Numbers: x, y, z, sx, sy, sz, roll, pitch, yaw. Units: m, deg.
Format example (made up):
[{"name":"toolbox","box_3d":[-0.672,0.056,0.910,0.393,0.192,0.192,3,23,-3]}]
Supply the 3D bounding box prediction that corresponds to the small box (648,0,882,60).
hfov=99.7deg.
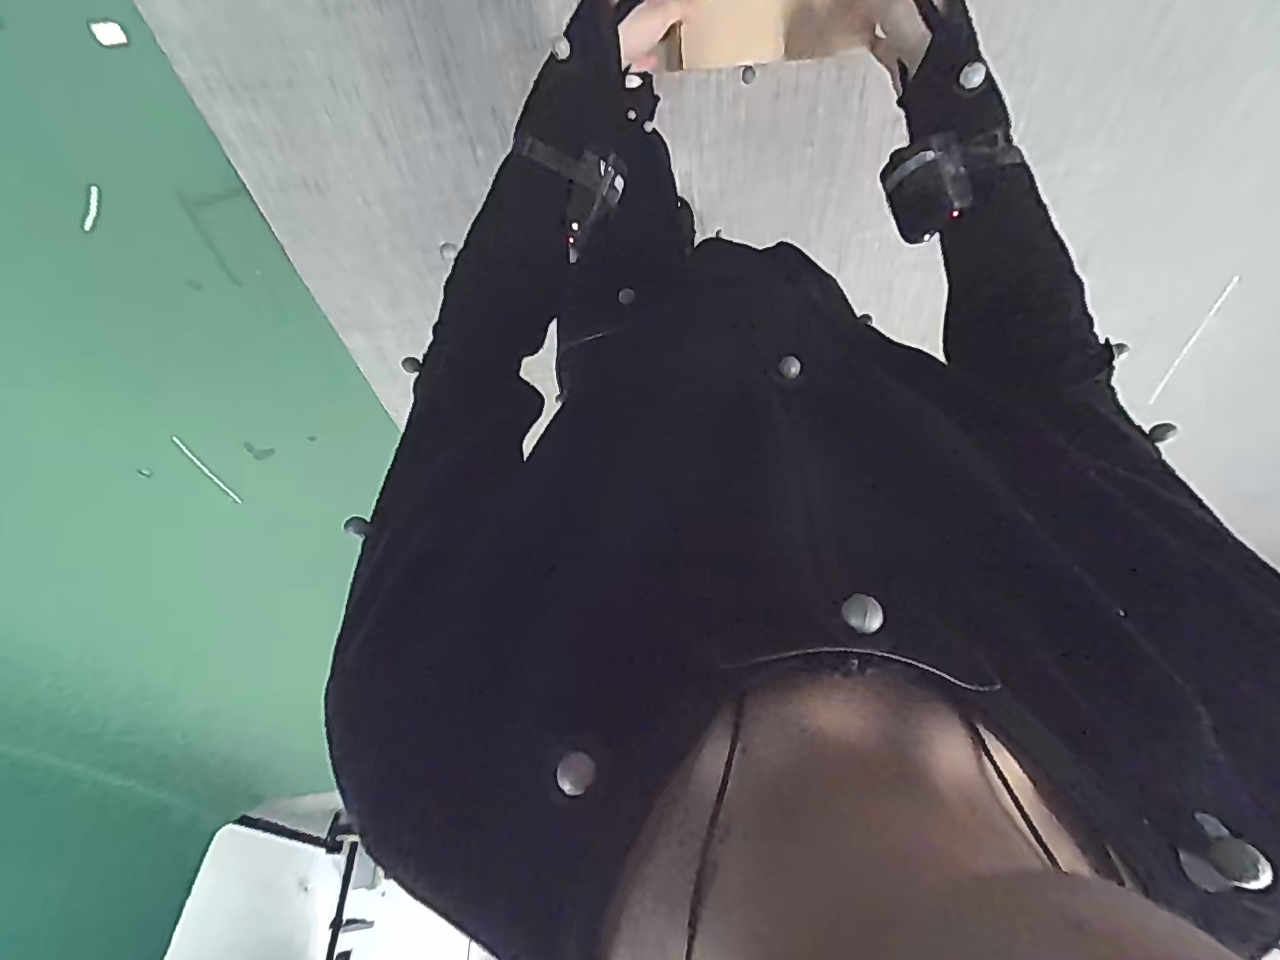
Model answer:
[{"name":"small box","box_3d":[0.100,-0.477,0.471,0.179,0.176,0.168,-9,128,-5]}]

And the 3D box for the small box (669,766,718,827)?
[{"name":"small box","box_3d":[0.206,1.229,2.103,0.168,0.176,0.179,-7,137,0]}]
